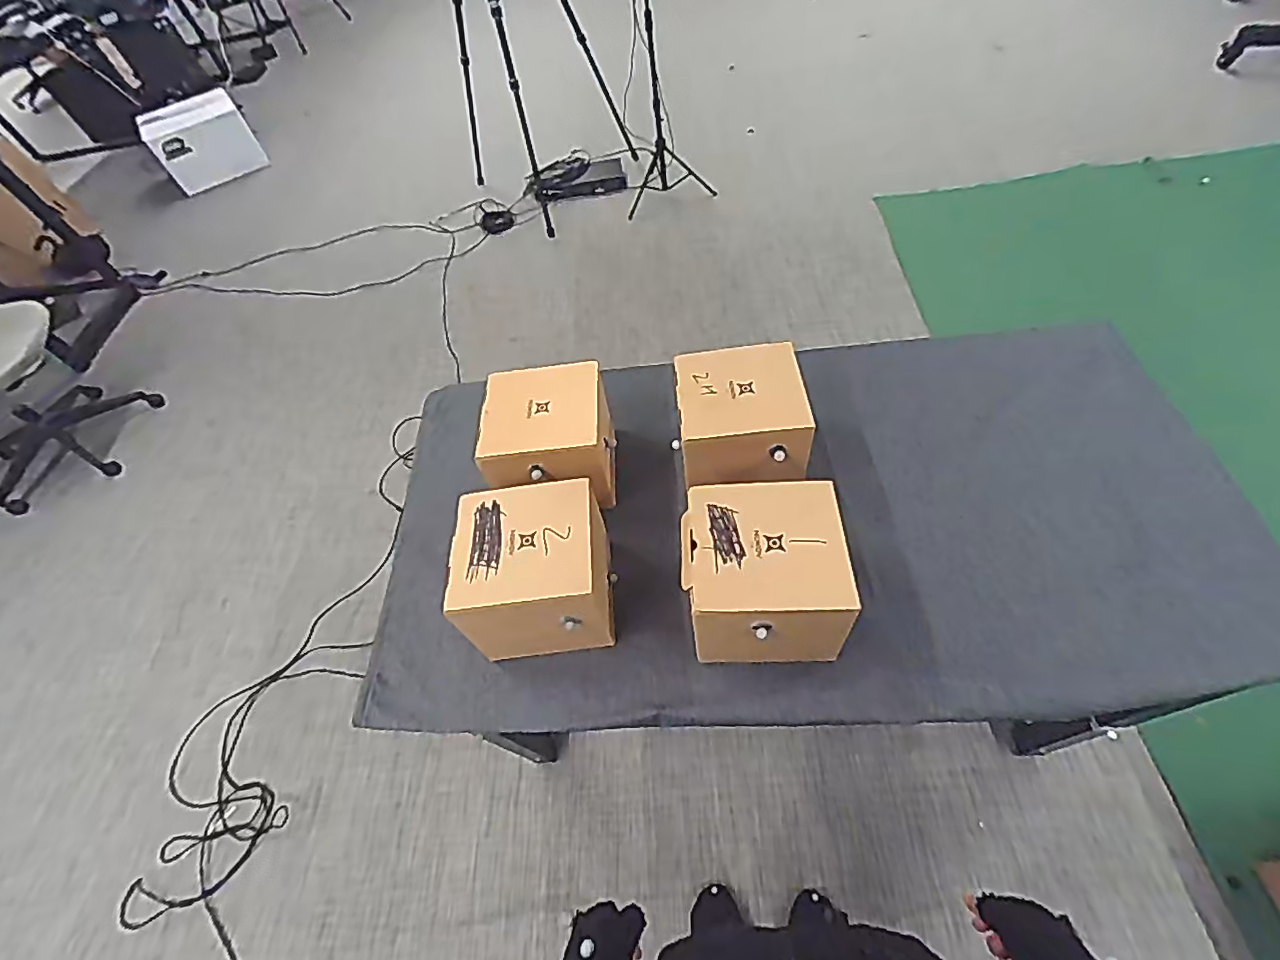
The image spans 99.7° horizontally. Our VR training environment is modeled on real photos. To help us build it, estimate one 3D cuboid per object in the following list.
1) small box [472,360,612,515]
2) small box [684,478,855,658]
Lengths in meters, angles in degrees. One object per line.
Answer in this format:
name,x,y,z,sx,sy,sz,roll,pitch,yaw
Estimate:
small box,-0.139,-0.061,0.848,0.179,0.176,0.168,-7,55,5
small box,0.149,0.116,0.674,0.179,0.176,0.168,-3,54,7
